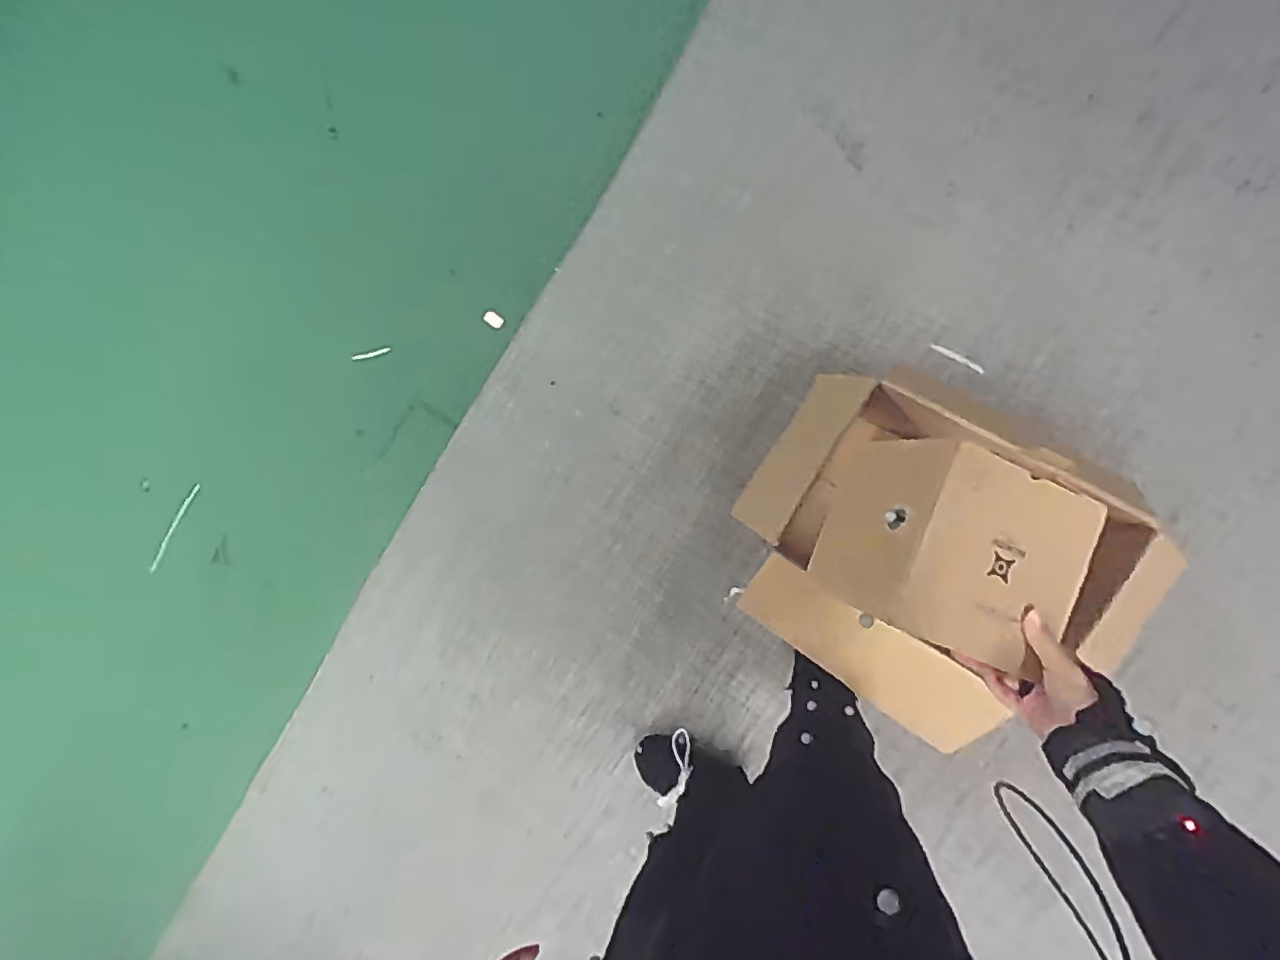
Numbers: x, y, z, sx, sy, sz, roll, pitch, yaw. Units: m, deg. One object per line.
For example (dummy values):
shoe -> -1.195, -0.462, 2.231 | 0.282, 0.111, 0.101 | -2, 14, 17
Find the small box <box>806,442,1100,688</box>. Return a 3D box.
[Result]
small box -> 0.298, 0.073, 0.550 | 0.168, 0.176, 0.179 | 22, 88, -10
